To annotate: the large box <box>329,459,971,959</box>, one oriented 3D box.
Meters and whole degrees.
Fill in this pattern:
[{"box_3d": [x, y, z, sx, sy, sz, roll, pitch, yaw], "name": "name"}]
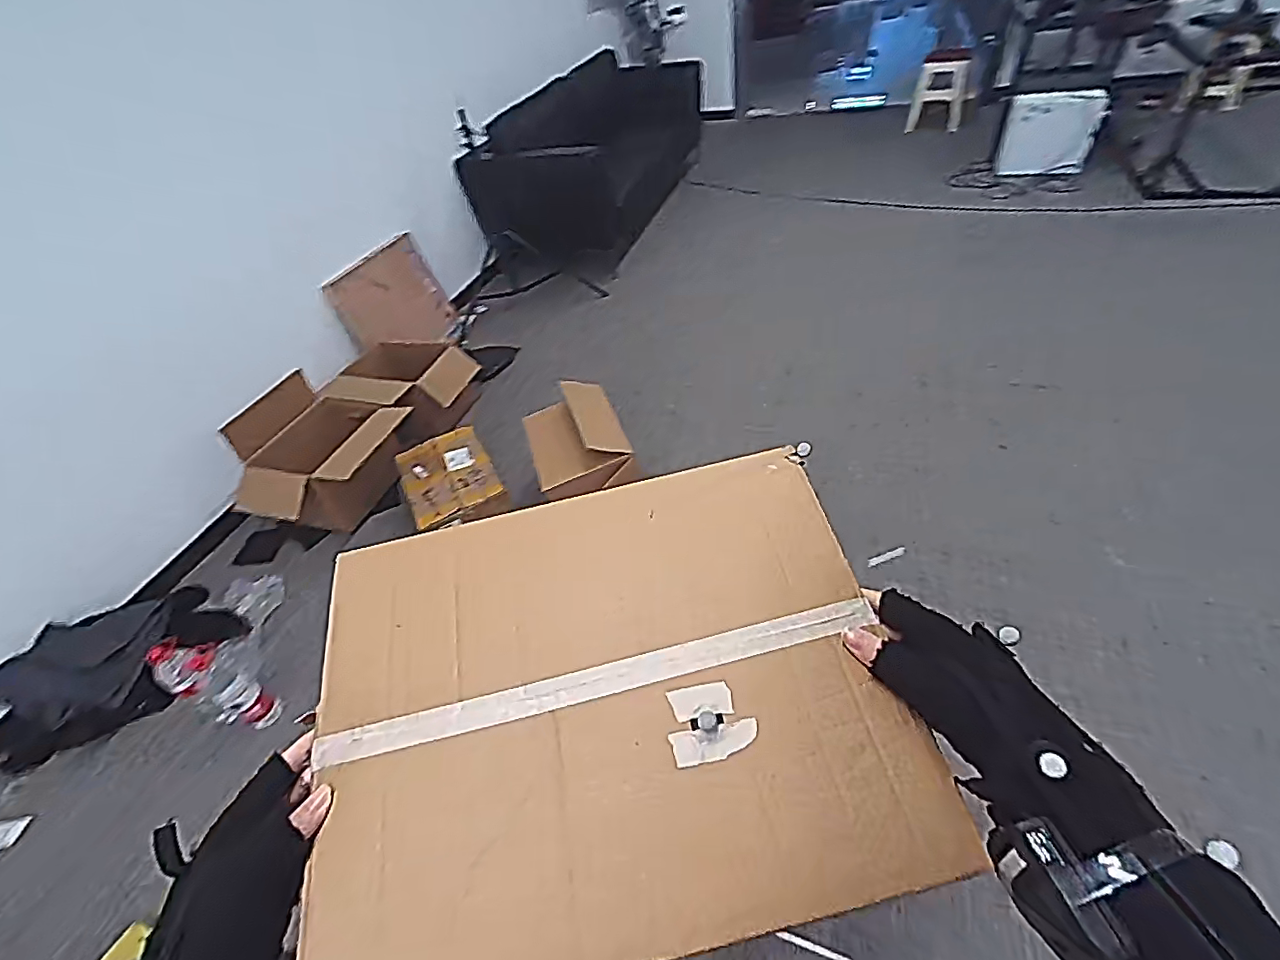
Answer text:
[{"box_3d": [-0.009, 0.231, 0.522, 0.408, 0.320, 0.320, -13, 57, -3], "name": "large box"}]
